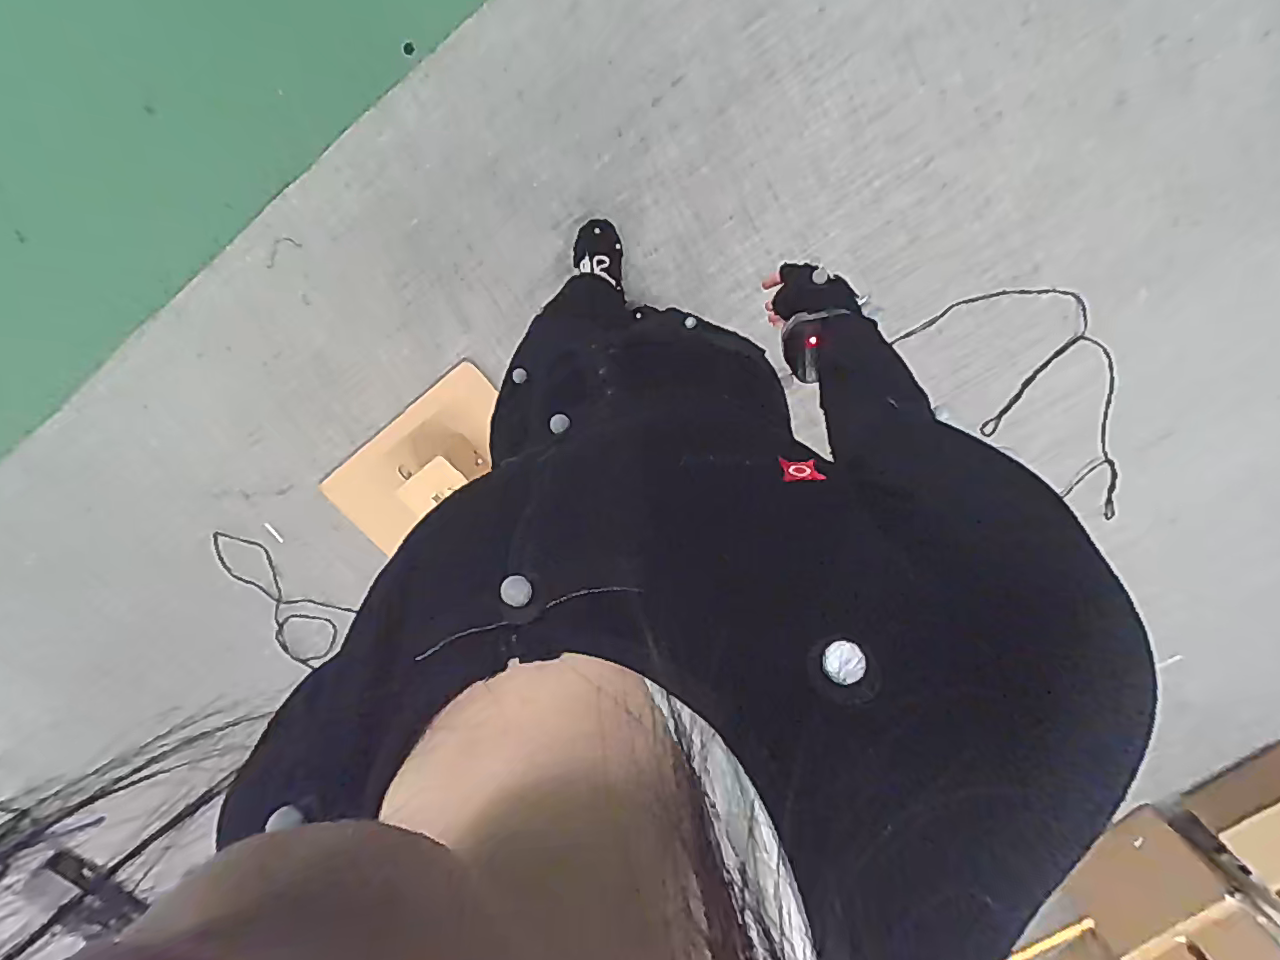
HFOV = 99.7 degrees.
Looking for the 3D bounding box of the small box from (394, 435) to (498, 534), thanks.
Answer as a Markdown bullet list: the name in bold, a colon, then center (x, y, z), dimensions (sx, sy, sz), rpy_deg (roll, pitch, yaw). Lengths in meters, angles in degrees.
- **small box**: center (-0.508, 0.008, 1.445), dimensions (0.179, 0.176, 0.168), rpy_deg (-35, 108, 13)
